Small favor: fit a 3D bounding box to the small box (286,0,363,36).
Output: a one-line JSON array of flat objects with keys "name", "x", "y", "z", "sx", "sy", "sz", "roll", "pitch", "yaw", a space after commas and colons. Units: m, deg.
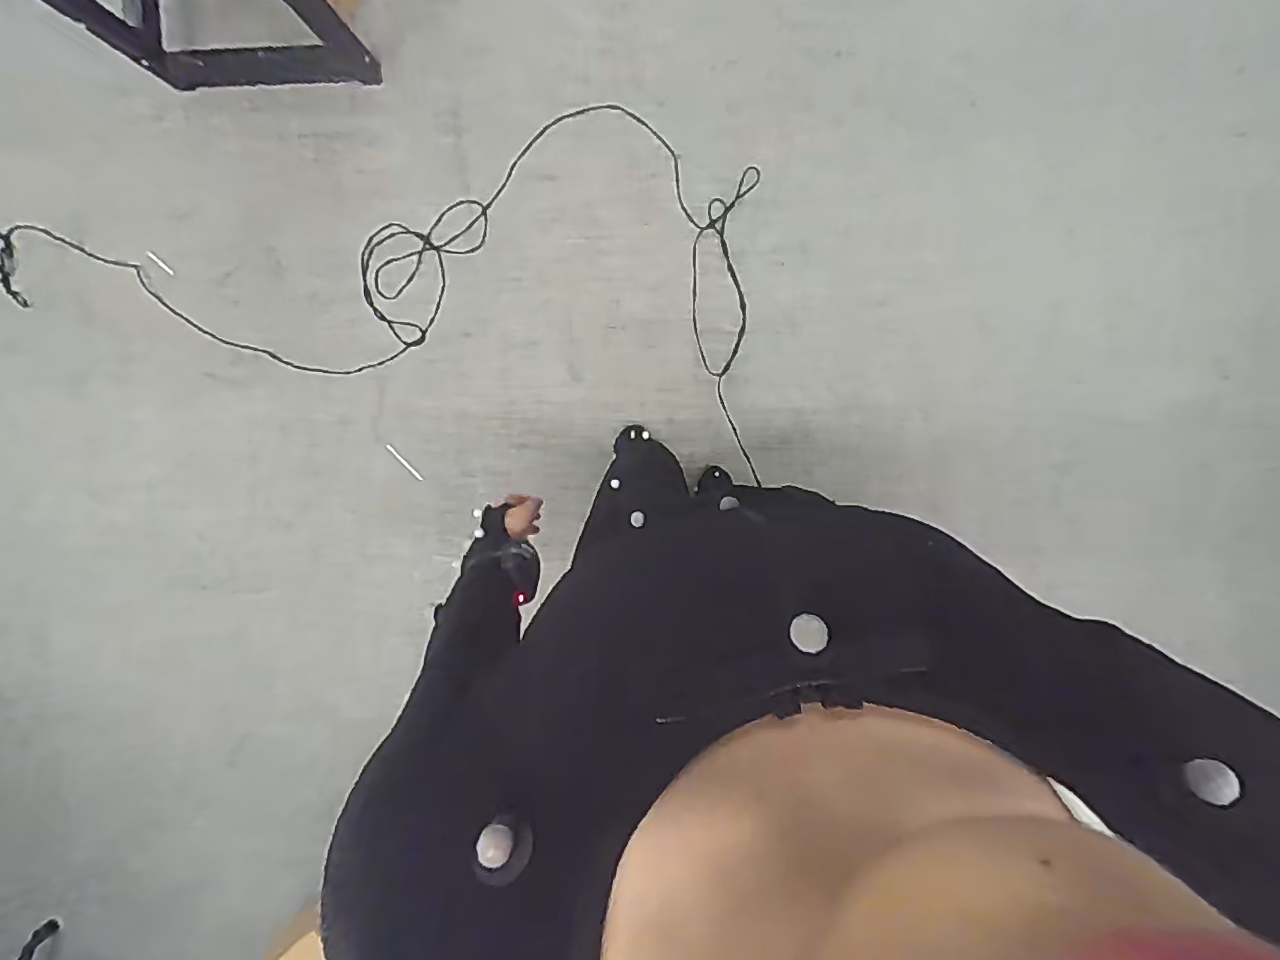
[{"name": "small box", "x": -0.808, "y": -1.250, "z": 1.325, "sx": 0.179, "sy": 0.176, "sz": 0.168, "roll": 35, "pitch": 98, "yaw": 0}]
